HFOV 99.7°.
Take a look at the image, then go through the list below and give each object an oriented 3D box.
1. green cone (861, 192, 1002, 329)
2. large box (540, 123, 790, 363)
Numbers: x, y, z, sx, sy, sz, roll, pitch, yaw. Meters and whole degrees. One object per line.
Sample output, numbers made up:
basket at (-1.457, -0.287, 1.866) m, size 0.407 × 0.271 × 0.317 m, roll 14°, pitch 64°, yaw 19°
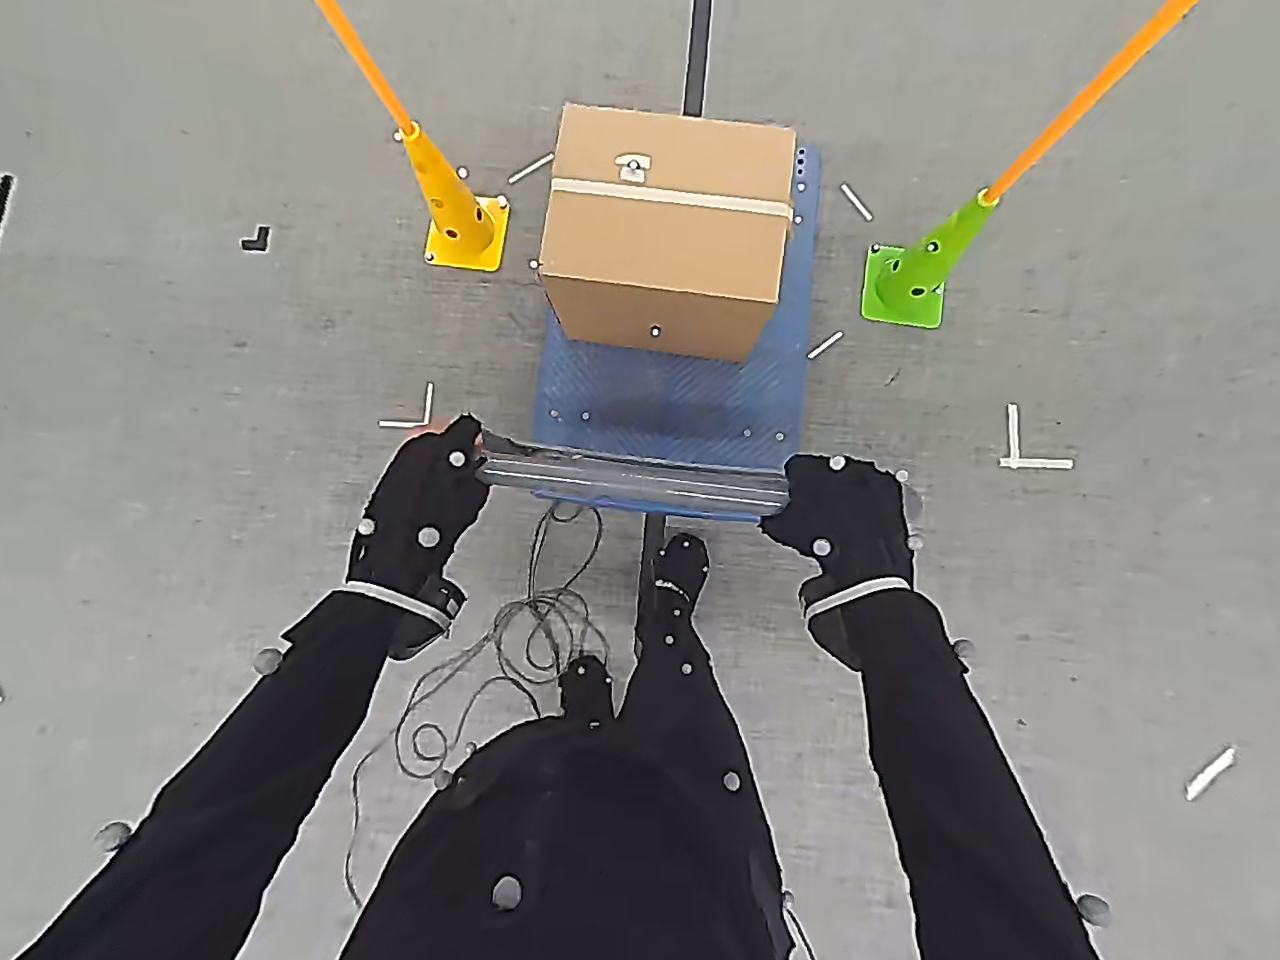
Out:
green cone at (0.669, -0.509, 1.209) m, size 0.202 × 0.368 × 0.200 m, roll 9°, pitch 84°, yaw 1°
large box at (0.052, -0.441, 1.075) m, size 0.408 × 0.320 × 0.320 m, roll 8°, pitch 84°, yaw 3°
